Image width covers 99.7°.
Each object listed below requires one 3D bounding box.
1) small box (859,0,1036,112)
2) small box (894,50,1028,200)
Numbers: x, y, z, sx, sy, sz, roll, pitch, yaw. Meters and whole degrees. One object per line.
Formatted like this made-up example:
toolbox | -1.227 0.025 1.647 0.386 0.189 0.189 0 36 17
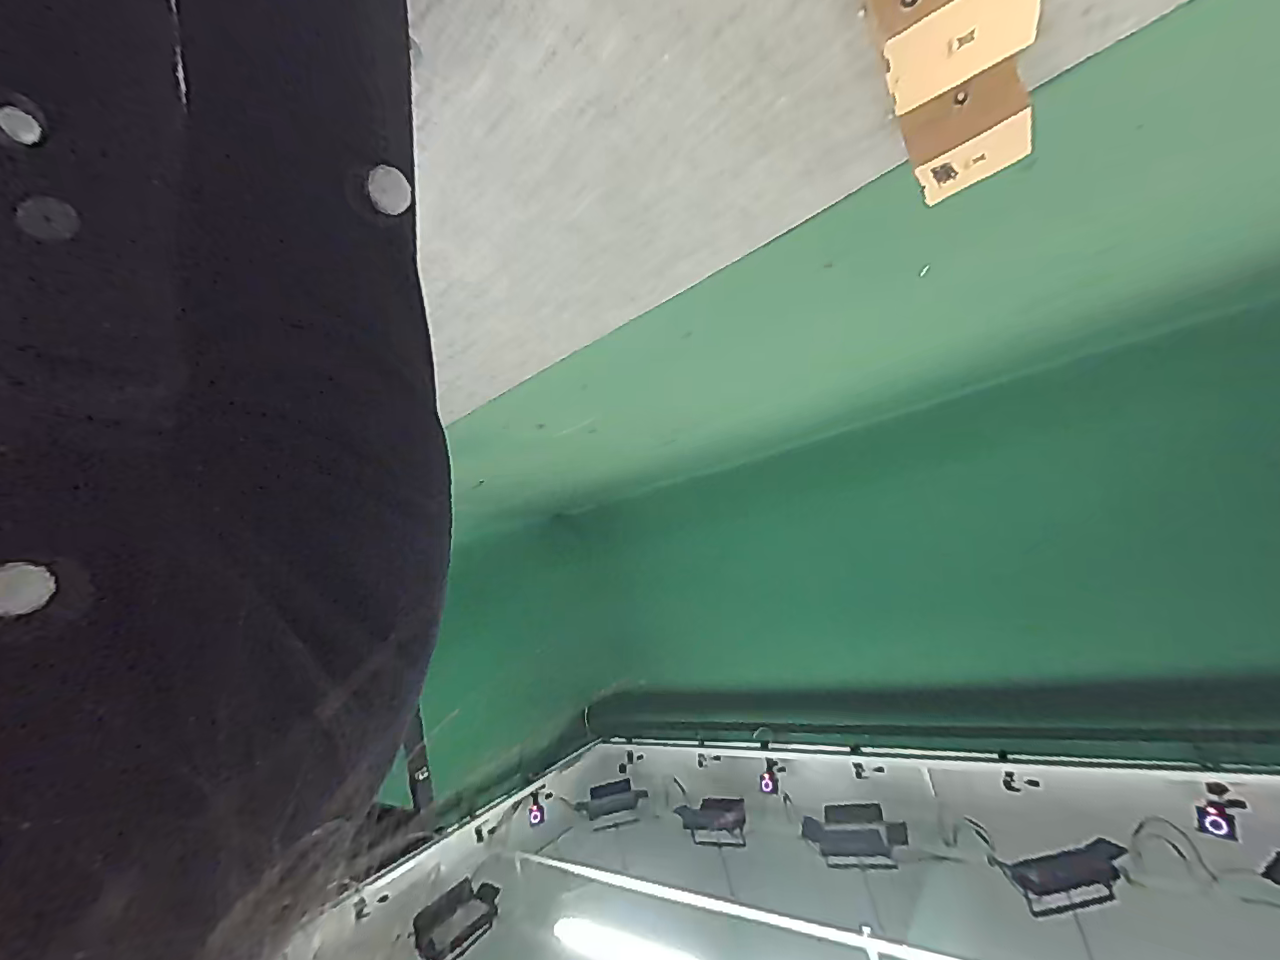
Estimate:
small box | 0.393 -0.649 0.708 0.179 0.176 0.168 -17 172 30
small box | 0.570 -0.655 0.973 0.179 0.176 0.168 -19 171 35
